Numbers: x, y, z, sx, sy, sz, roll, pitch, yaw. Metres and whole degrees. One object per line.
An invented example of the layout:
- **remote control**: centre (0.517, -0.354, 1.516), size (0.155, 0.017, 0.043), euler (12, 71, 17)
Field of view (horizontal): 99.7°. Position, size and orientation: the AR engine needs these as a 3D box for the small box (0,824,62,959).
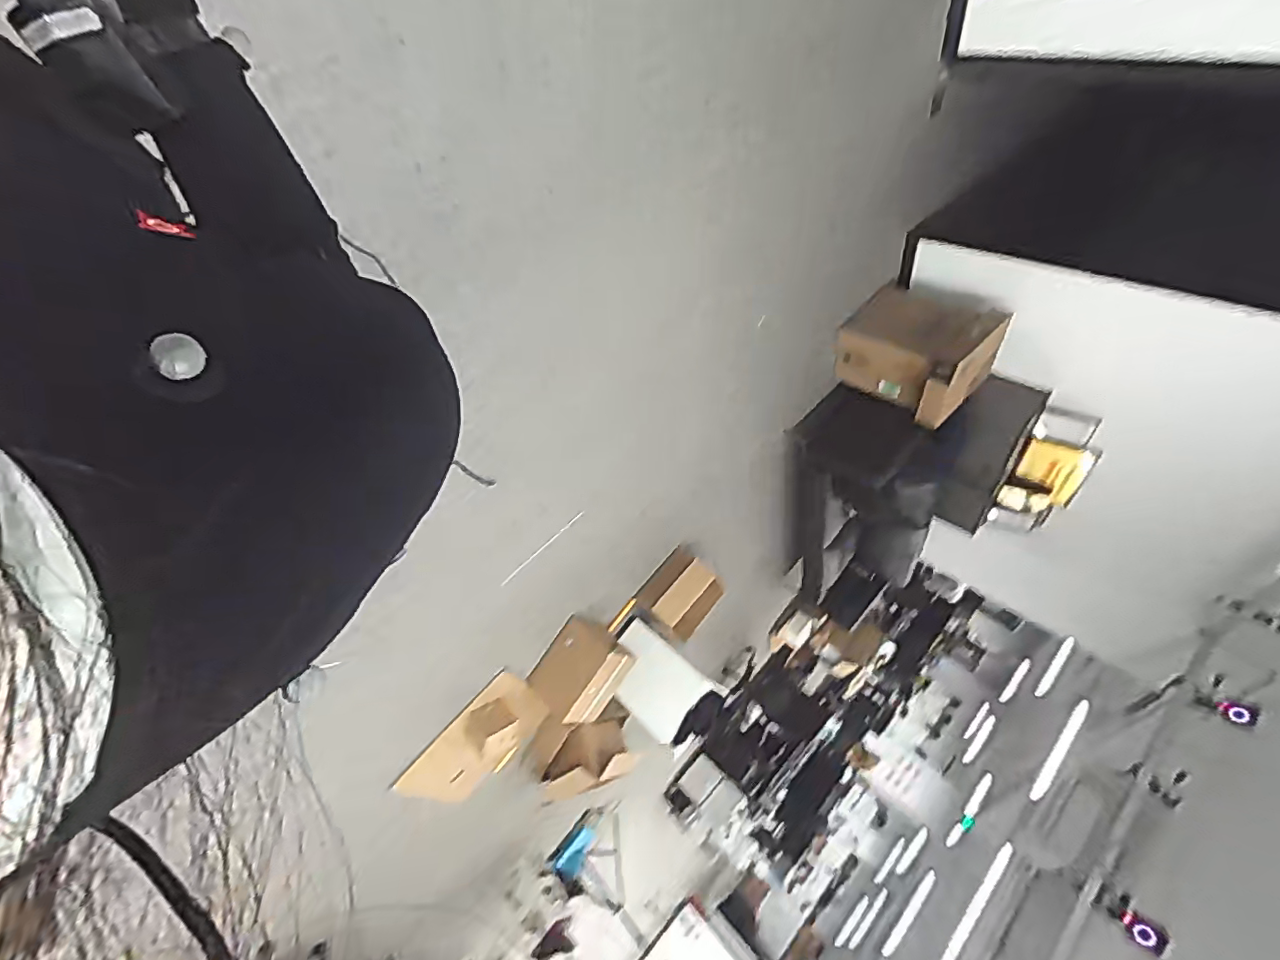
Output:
- **small box**: centre (-0.828, 0.531, 0.617), size (0.179, 0.176, 0.168), euler (-39, 142, -22)
